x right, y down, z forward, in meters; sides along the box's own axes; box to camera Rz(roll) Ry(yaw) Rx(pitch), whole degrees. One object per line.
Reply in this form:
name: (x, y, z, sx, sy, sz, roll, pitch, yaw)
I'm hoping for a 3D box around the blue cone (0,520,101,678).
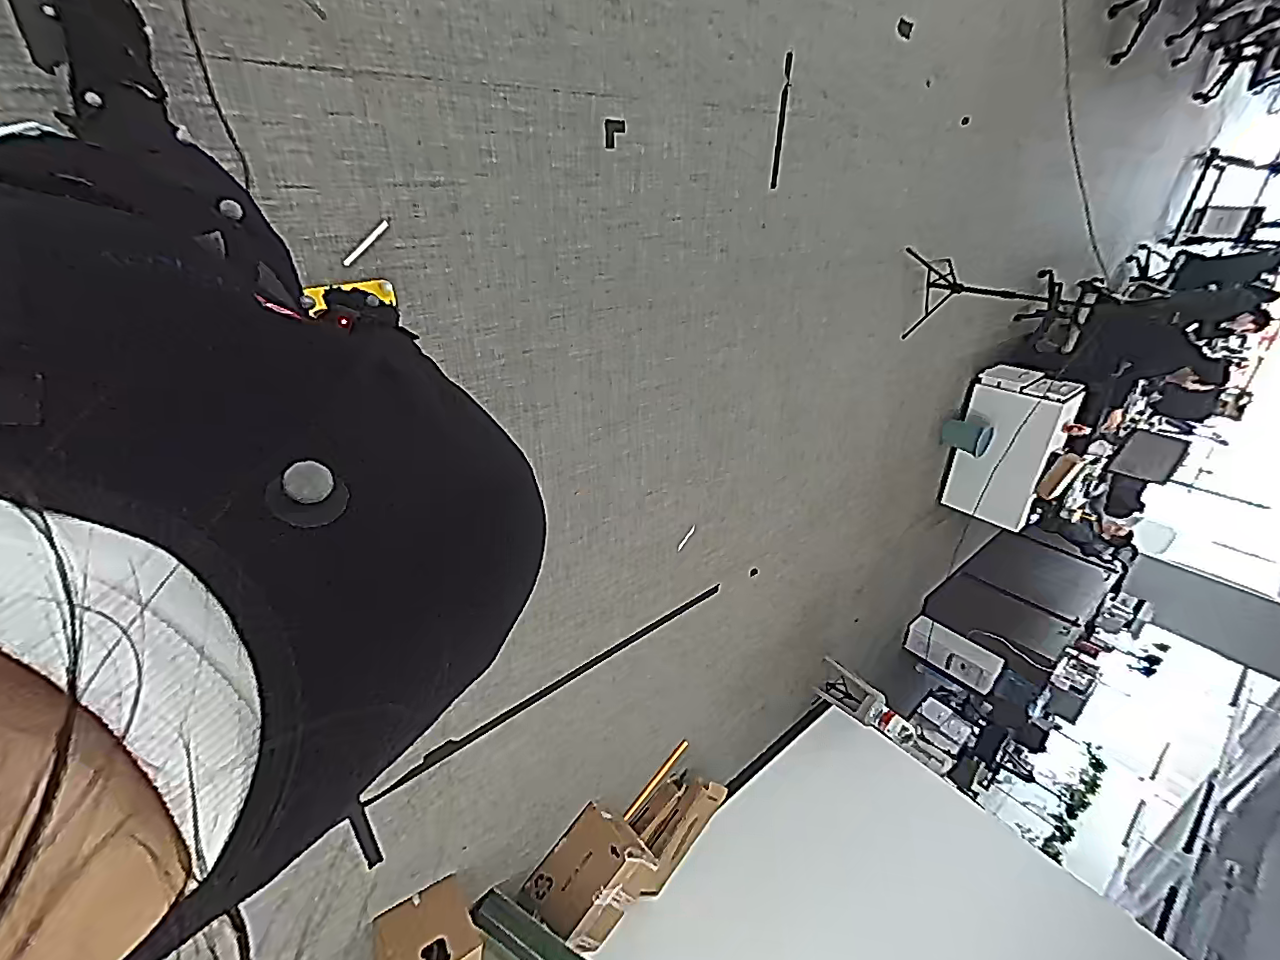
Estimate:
blue cone: (-1.111, 0.236, 0.953, 0.192, 0.380, 0.193, -16, 122, -35)
